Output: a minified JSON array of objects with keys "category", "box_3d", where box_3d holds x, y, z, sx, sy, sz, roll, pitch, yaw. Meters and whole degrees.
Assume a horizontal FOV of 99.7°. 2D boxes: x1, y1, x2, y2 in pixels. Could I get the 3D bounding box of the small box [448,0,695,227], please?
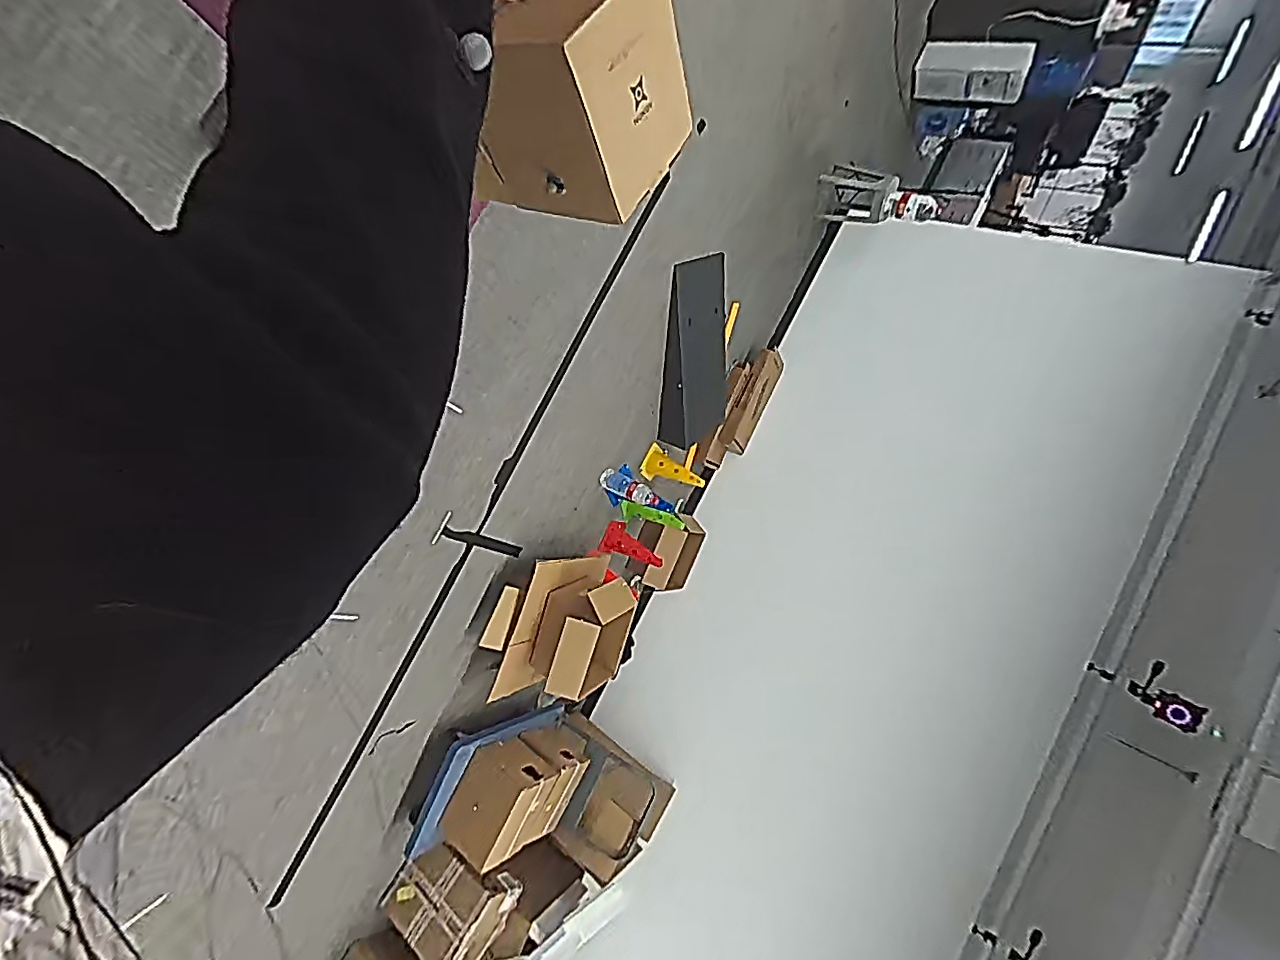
[{"category":"small box","box_3d":[-0.065,-0.412,0.587,0.168,0.176,0.179,-58,151,-17]}]
